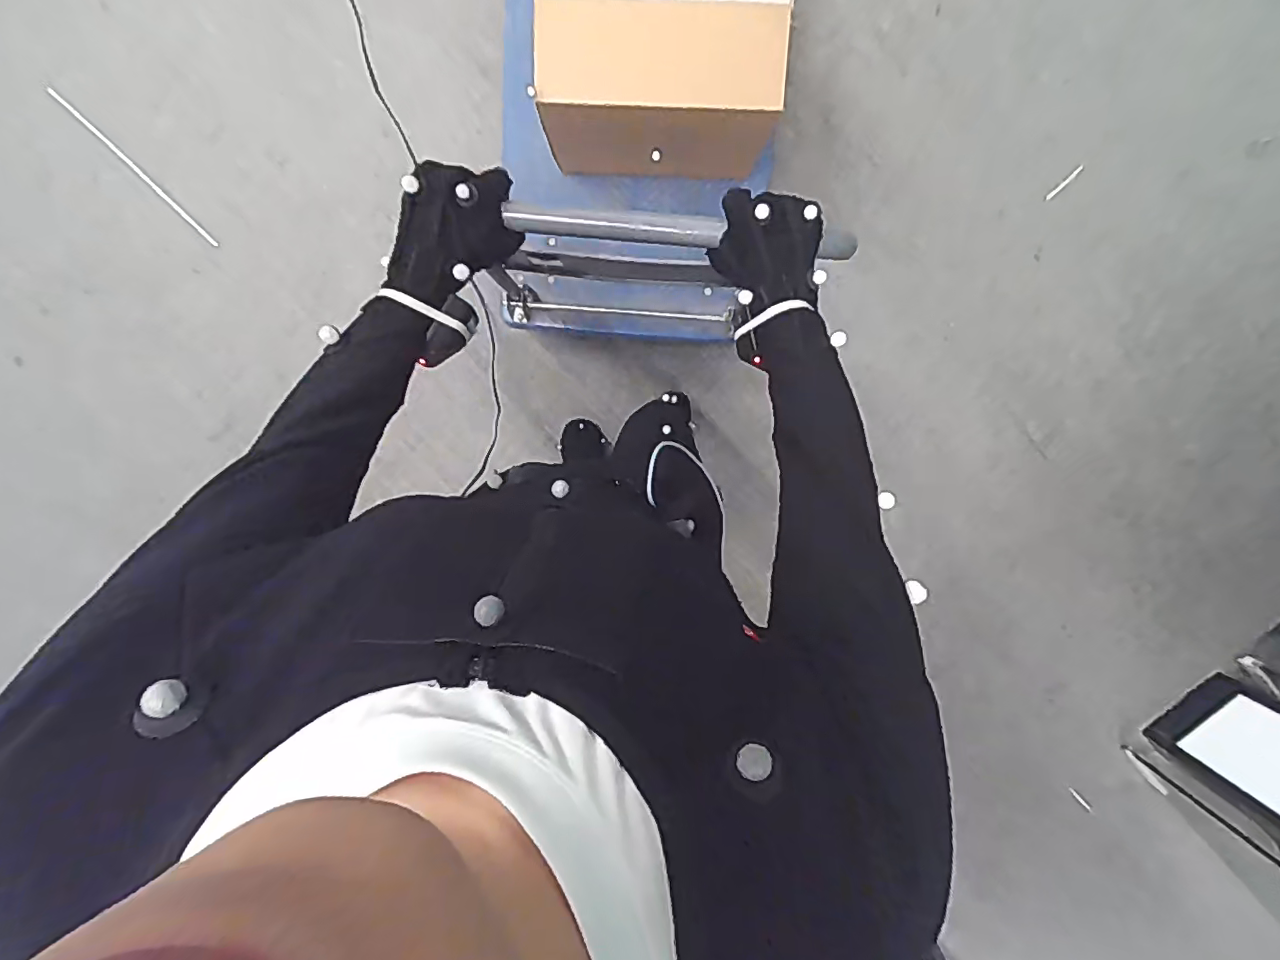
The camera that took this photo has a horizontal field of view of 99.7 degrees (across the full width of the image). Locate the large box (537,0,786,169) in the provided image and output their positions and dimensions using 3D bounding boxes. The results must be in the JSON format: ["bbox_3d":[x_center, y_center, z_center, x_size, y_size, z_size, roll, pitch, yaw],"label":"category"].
[{"bbox_3d":[0.036,-0.795,0.999,0.408,0.320,0.320,1,100,0],"label":"large box"}]
